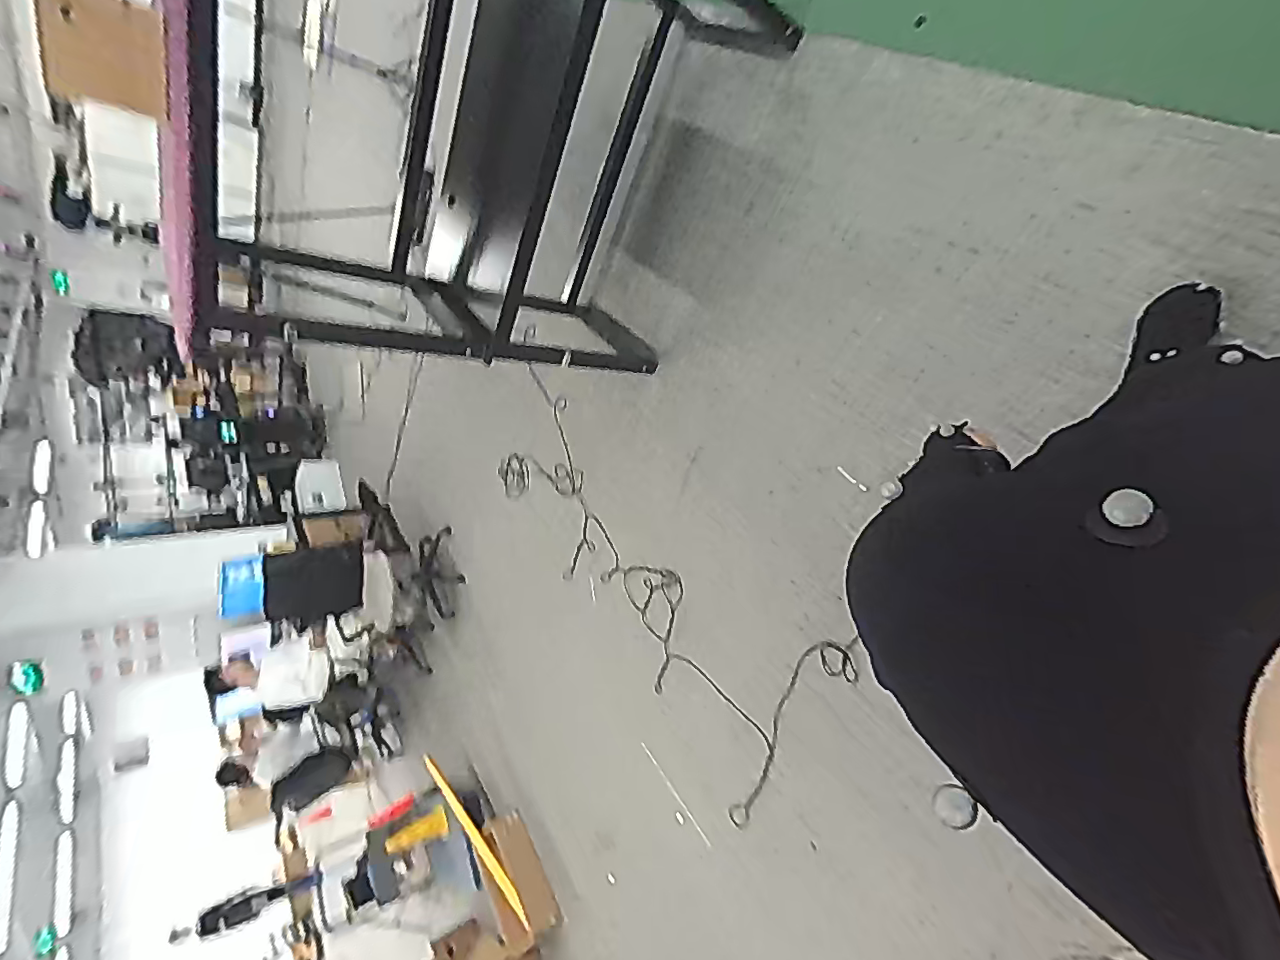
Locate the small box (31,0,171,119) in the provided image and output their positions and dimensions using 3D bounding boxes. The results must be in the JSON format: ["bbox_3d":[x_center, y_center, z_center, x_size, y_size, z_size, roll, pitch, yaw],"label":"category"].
[{"bbox_3d":[-0.981,-0.805,0.997,0.168,0.176,0.179,50,127,34],"label":"small box"}]
